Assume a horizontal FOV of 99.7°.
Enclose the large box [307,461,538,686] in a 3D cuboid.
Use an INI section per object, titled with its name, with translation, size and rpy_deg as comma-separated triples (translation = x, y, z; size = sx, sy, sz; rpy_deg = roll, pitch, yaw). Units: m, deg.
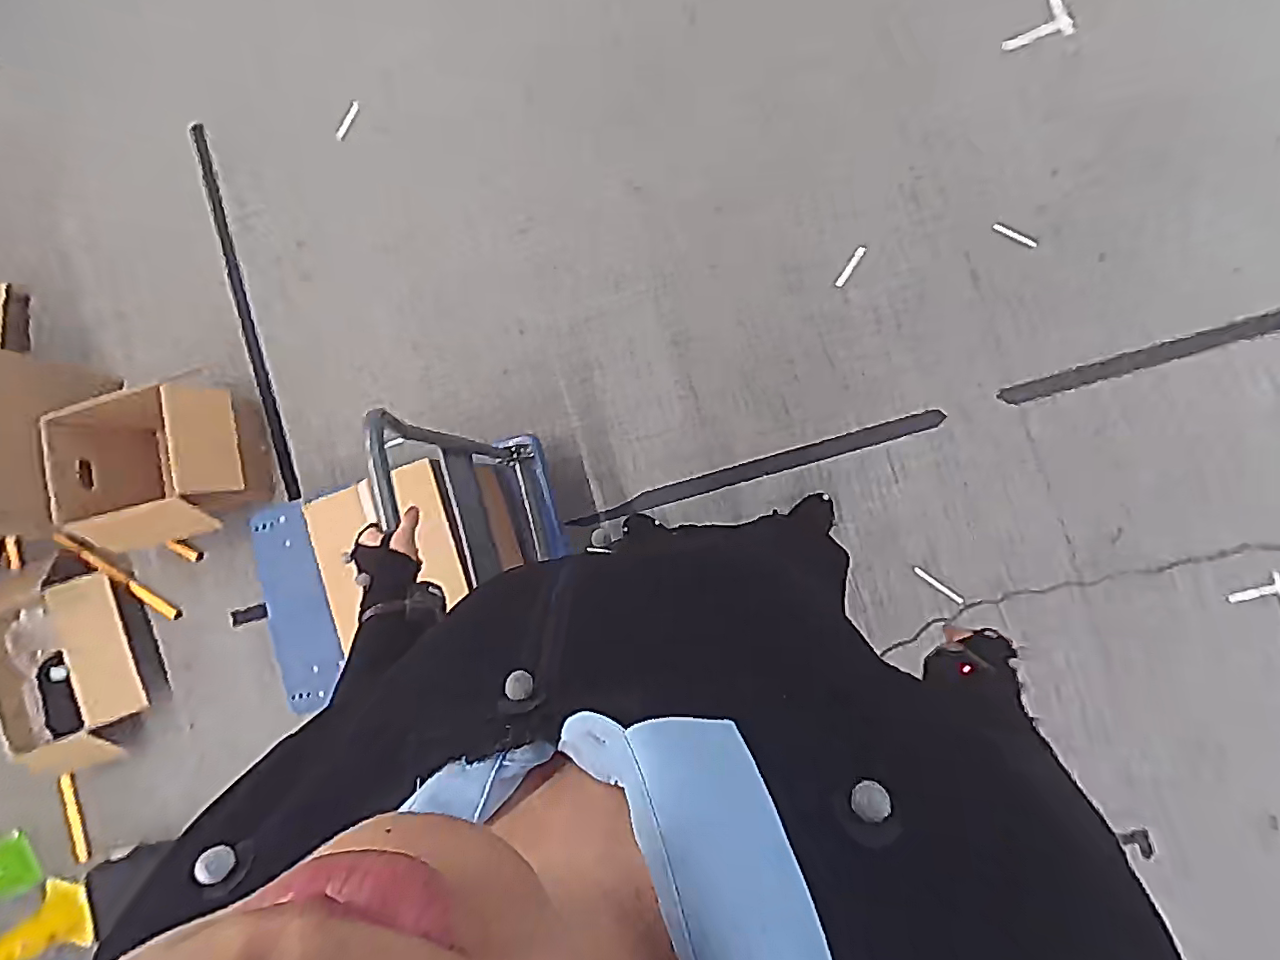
[large box]
translation = -0.484, 0.201, 1.265
size = 0.320, 0.320, 0.408
rpy_deg = -19, 85, 8
